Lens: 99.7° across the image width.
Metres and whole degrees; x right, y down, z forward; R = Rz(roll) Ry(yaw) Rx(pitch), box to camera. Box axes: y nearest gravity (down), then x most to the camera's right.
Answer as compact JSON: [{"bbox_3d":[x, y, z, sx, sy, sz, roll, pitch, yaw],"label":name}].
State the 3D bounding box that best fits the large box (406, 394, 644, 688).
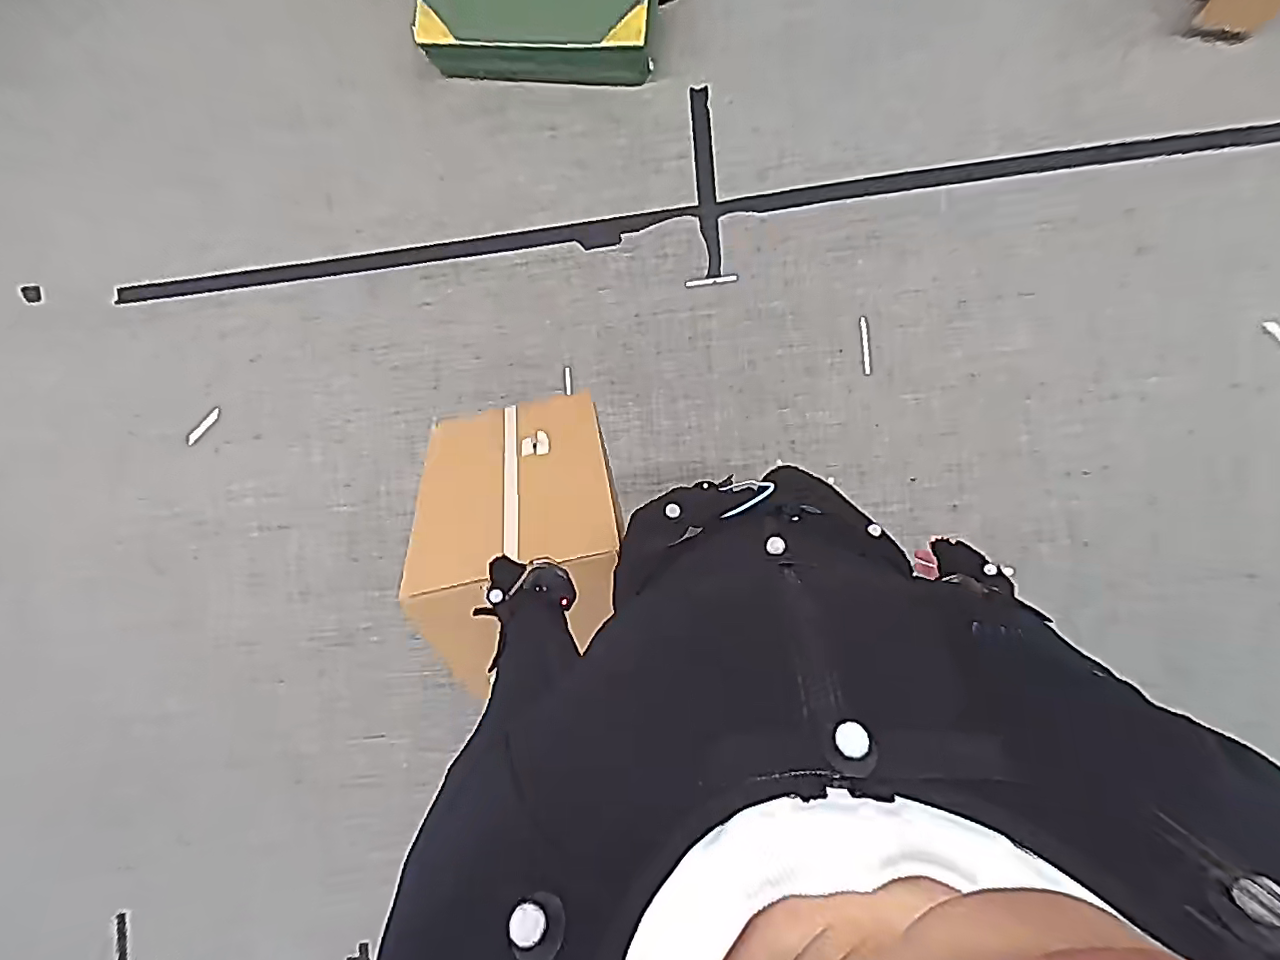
[{"bbox_3d":[-0.192,0.103,1.002,0.320,0.408,0.320,-12,133,-2],"label":"large box"}]
